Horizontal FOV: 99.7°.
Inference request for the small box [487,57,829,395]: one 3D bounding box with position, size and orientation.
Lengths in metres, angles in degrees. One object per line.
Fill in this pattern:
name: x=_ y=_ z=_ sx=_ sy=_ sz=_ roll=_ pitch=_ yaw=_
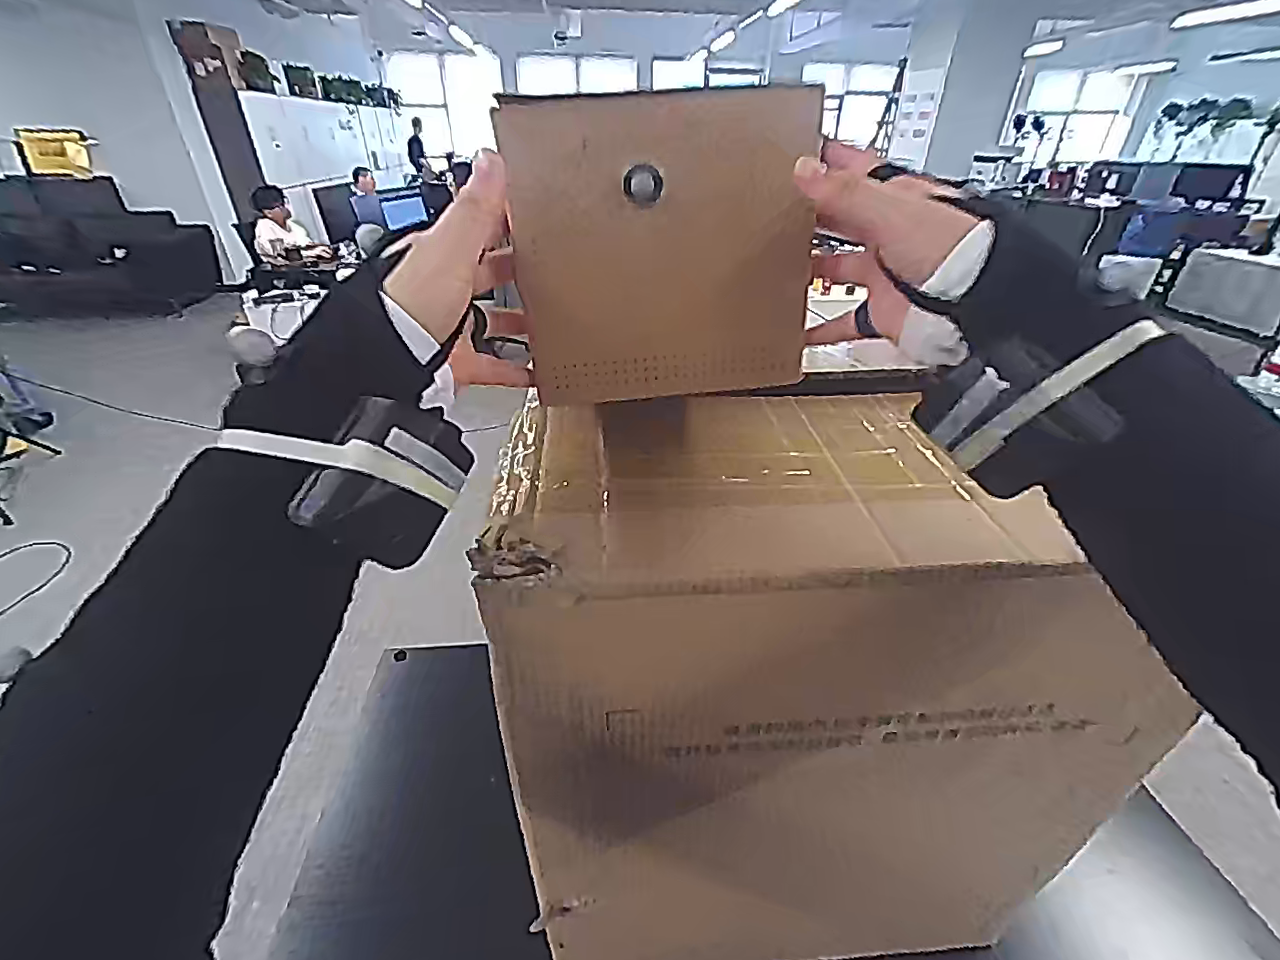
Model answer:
small box: x=0.012 y=-0.165 z=0.374 sx=0.179 sy=0.176 sz=0.168 roll=-6 pitch=30 yaw=-2
